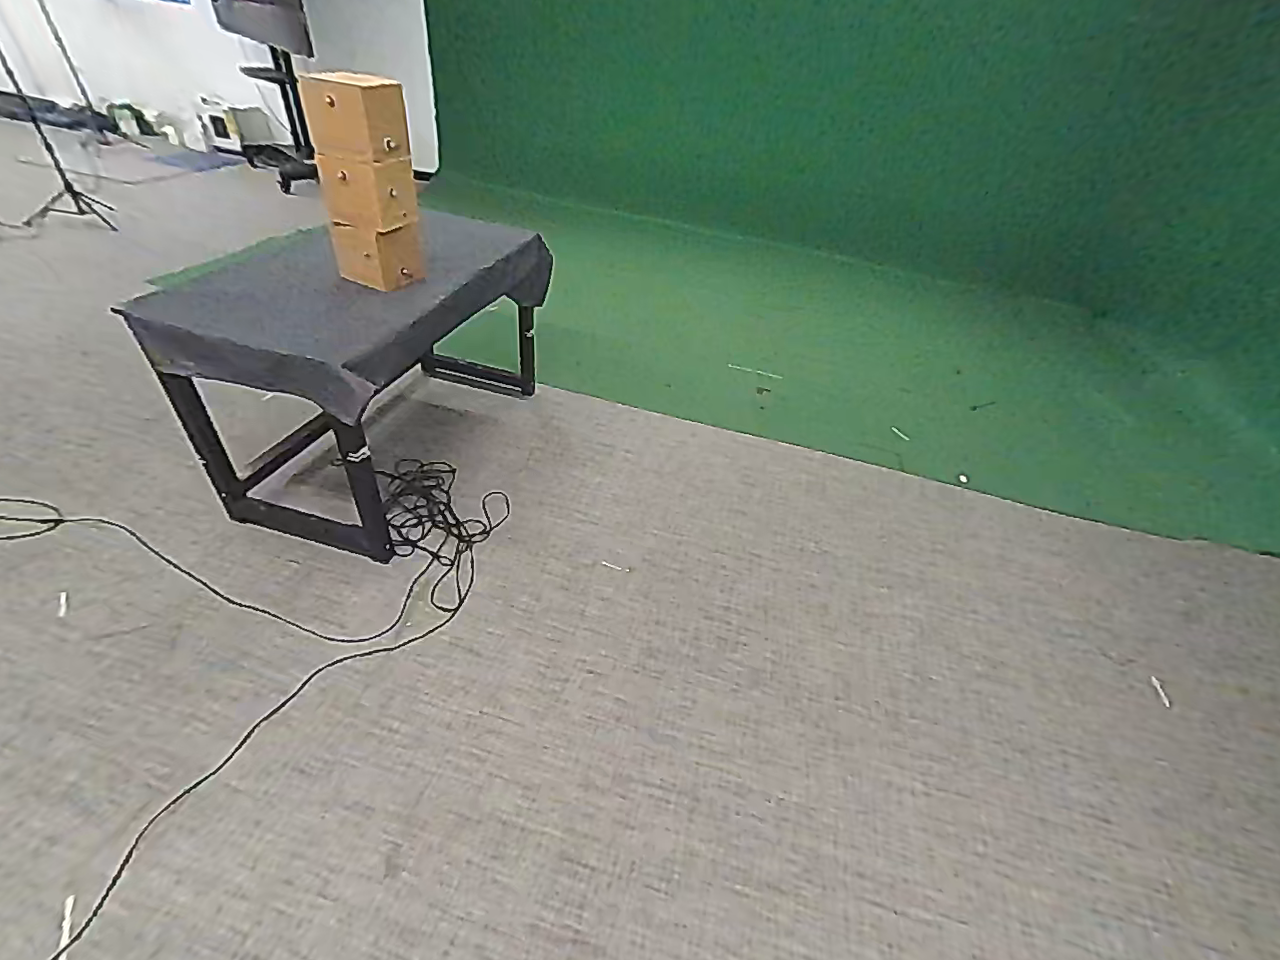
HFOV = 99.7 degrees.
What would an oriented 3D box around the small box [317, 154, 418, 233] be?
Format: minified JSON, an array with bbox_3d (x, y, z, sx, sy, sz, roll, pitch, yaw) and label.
[{"bbox_3d":[-0.739,-0.796,1.489,0.179,0.176,0.168,16,40,9],"label":"small box"}]

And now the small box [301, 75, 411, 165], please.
[{"bbox_3d":[-0.720,-0.925,1.392,0.179,0.176,0.168,15,41,7],"label":"small box"}]
